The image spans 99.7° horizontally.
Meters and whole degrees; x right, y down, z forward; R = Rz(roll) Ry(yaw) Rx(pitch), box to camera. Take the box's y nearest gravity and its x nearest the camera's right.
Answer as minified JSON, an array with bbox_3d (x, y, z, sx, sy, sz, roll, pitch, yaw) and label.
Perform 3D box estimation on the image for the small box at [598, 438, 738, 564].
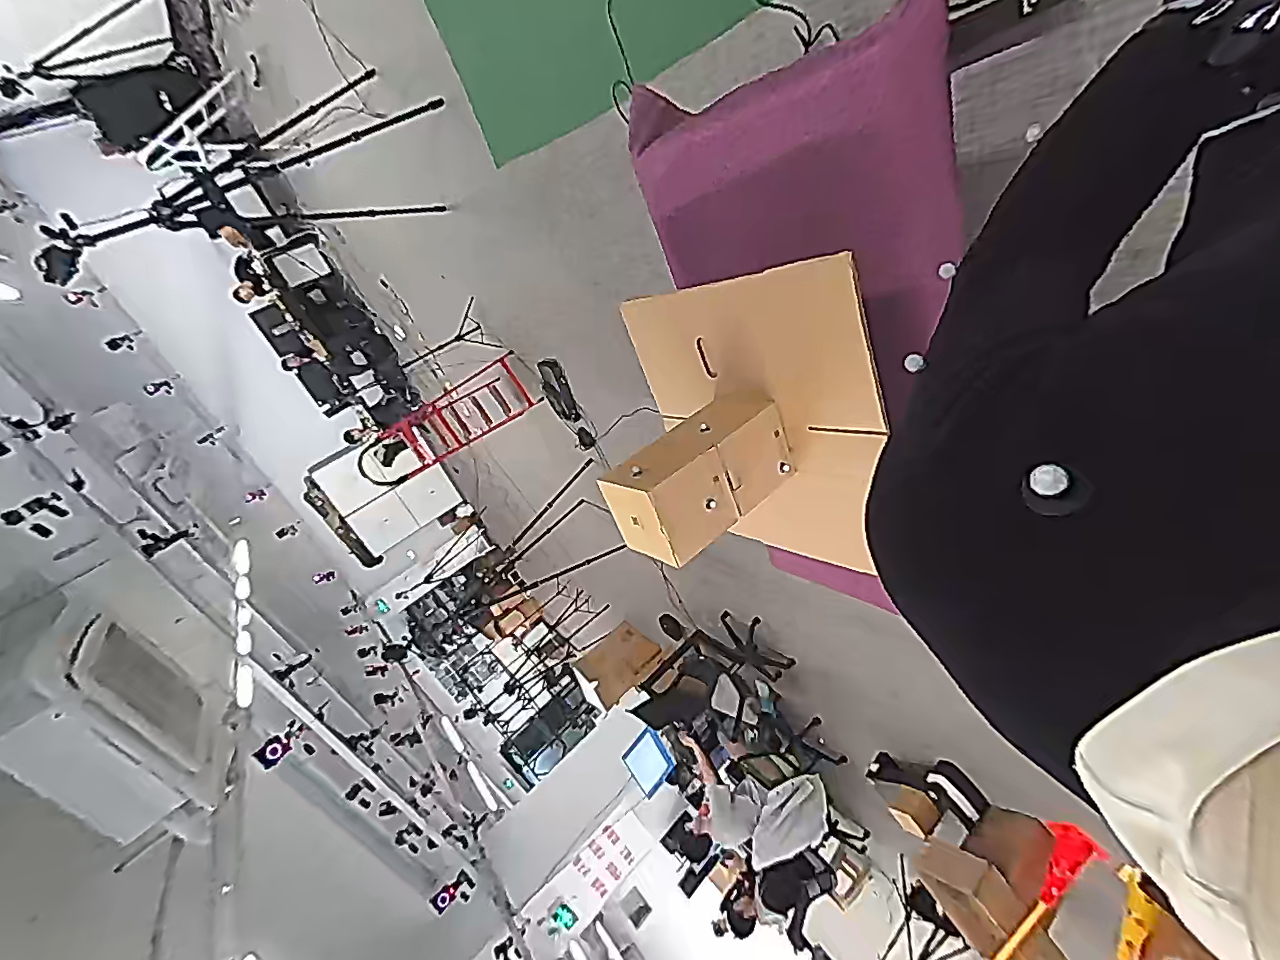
[{"bbox_3d":[0.056,0.030,1.033,0.179,0.176,0.168,12,131,54],"label":"small box"}]

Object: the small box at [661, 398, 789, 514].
[{"bbox_3d":[0.179,-0.056,1.095,0.179,0.176,0.168,14,133,55],"label":"small box"}]
